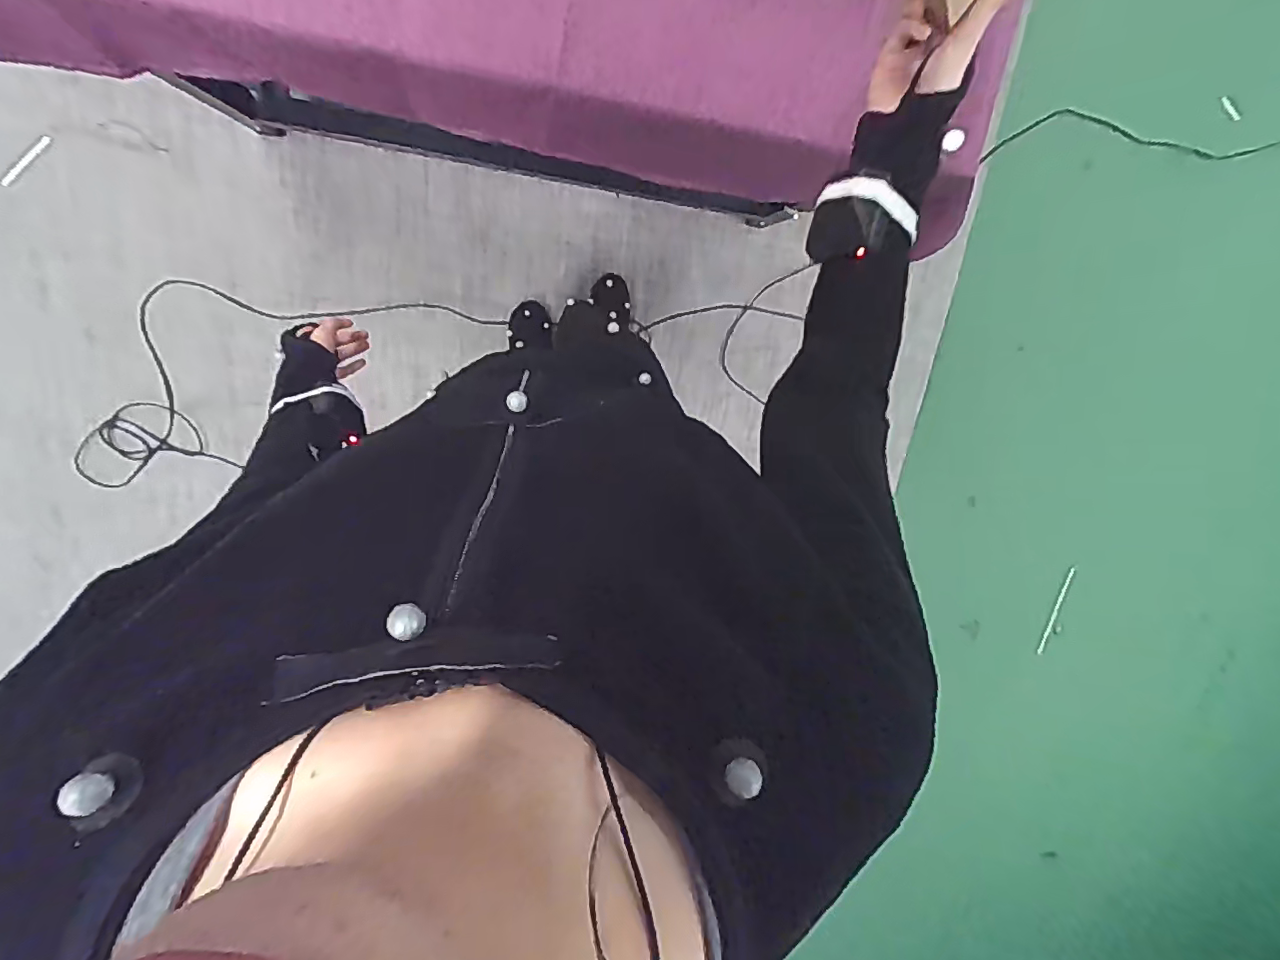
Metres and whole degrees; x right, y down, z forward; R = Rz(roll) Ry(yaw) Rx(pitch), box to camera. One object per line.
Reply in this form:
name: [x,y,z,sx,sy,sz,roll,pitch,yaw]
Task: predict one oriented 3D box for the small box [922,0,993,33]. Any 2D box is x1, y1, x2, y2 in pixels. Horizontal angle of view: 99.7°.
small box: [0.202,-0.429,0.316,0.176,0.179,0.168,52,127,7]
